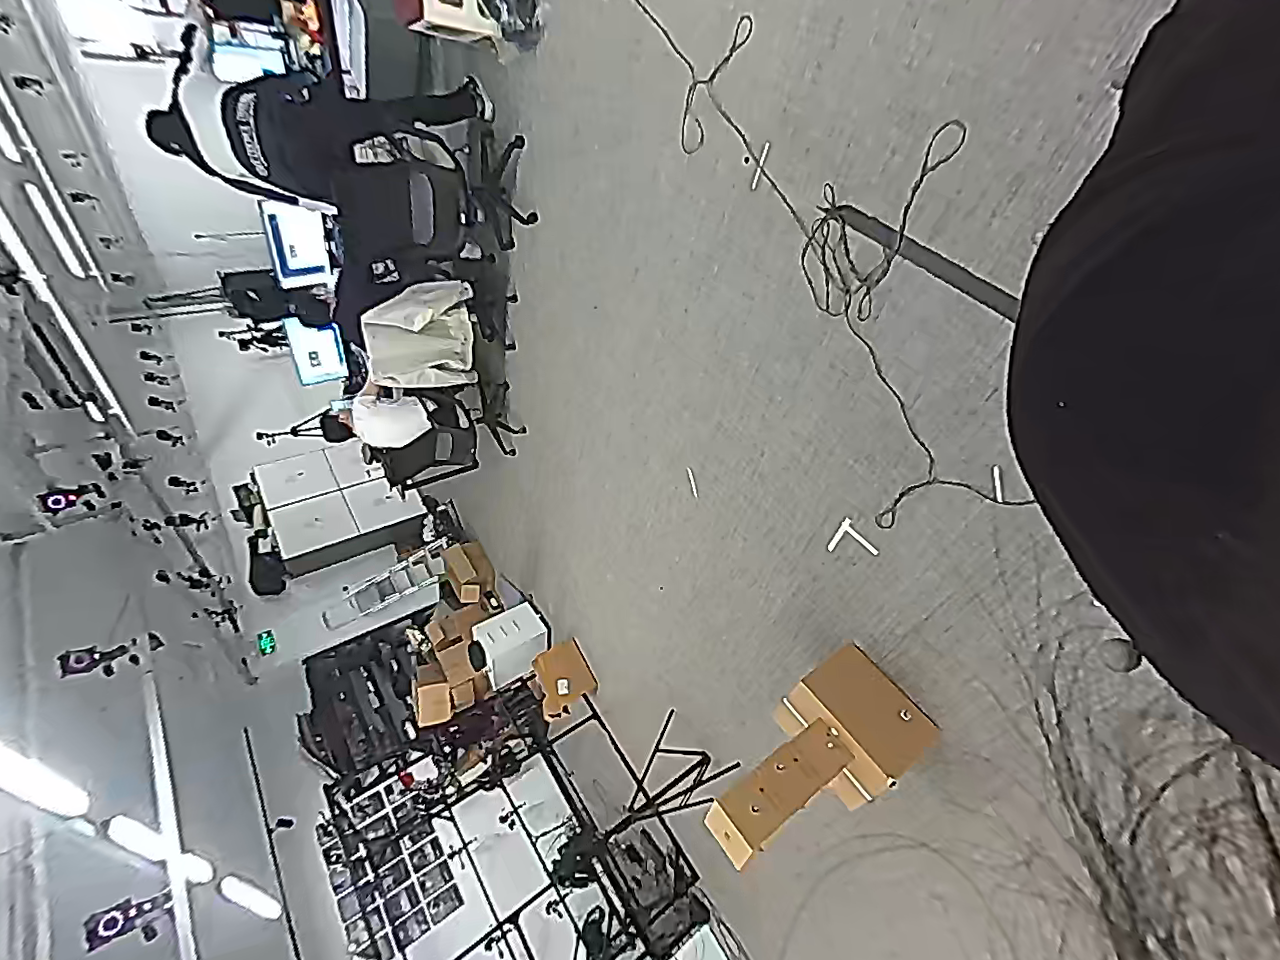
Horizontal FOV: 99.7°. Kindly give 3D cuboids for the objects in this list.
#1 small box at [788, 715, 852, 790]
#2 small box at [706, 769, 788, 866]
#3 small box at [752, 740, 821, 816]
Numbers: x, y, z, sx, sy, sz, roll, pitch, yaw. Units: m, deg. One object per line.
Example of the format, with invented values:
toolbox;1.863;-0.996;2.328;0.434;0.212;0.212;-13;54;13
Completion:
small box;0.595;0.951;1.862;0.168;0.176;0.179;47;141;31
small box;0.335;1.049;1.690;0.168;0.176;0.179;44;140;36
small box;0.464;0.994;1.776;0.168;0.176;0.179;47;143;33
